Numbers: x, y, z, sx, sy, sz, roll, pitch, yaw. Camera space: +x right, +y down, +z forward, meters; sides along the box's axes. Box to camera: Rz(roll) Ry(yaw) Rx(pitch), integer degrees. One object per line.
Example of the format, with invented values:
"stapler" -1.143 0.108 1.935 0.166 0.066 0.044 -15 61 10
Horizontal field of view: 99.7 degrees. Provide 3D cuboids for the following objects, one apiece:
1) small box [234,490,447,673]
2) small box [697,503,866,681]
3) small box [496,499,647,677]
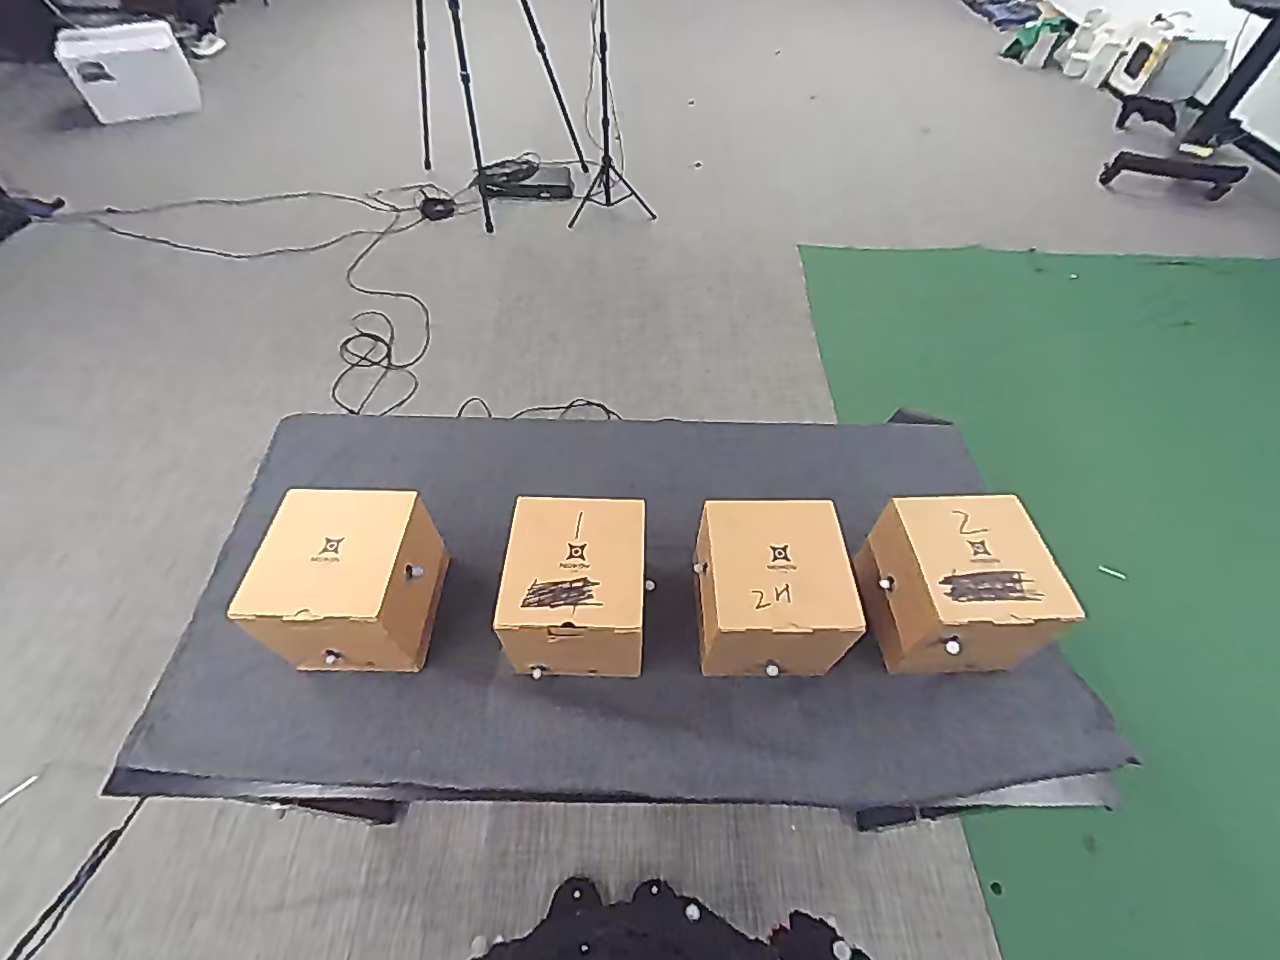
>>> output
"small box" -0.364 0.133 0.703 0.168 0.176 0.179 1 52 -2
"small box" 0.167 0.148 0.706 0.168 0.176 0.179 0 53 0
"small box" -0.076 0.145 0.702 0.168 0.176 0.179 2 52 0
